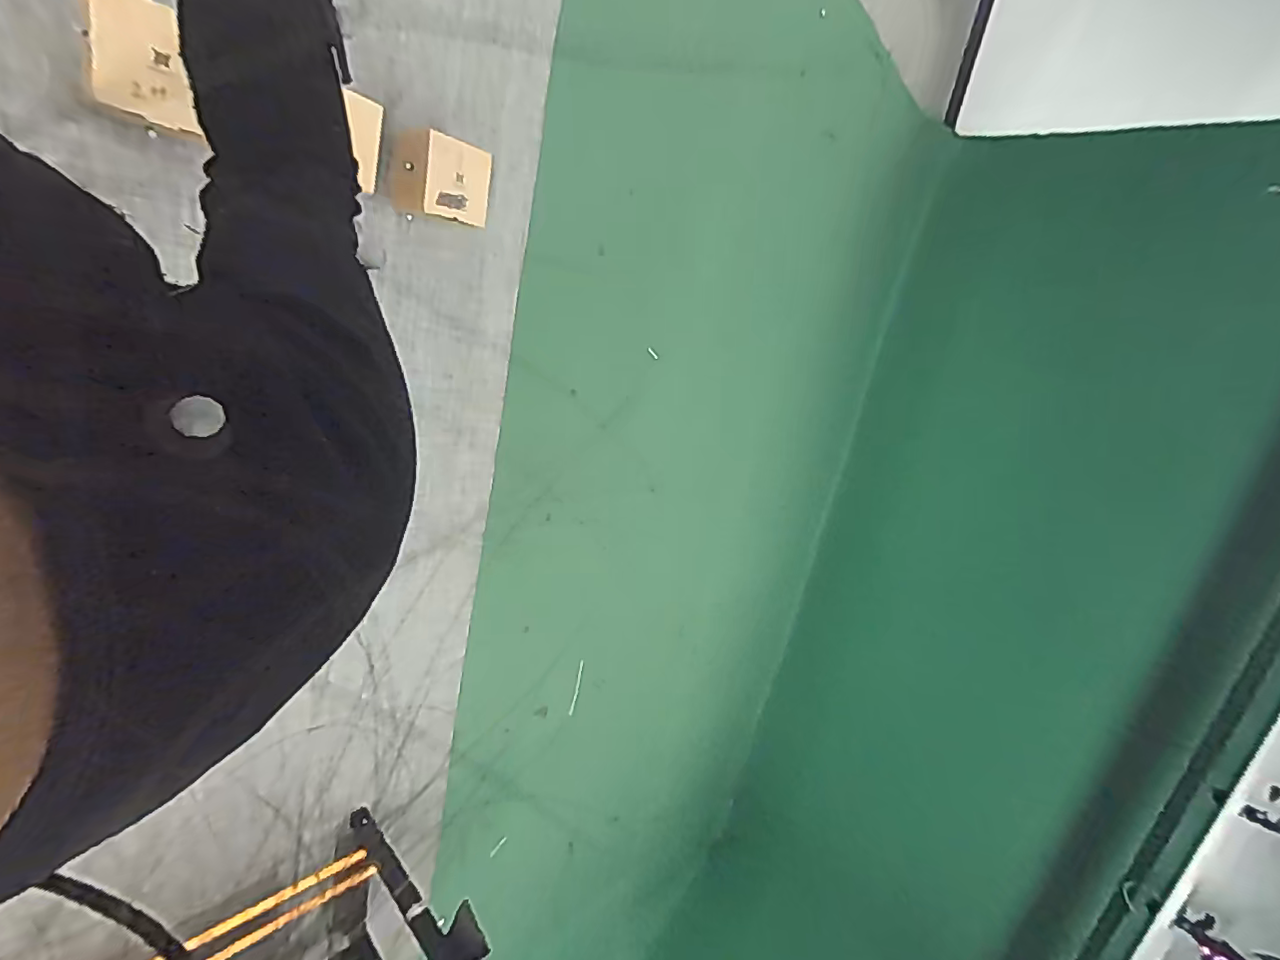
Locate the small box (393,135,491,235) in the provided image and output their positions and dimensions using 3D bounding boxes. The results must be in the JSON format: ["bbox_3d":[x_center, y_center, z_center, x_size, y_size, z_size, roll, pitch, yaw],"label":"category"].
[{"bbox_3d":[-0.497,-0.725,1.344,0.168,0.176,0.179,-7,114,-49],"label":"small box"}]

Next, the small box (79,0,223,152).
[{"bbox_3d":[-0.845,-0.696,0.937,0.168,0.176,0.179,-5,112,-48],"label":"small box"}]

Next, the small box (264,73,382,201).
[{"bbox_3d":[-0.672,-0.711,1.142,0.168,0.176,0.179,-3,111,-50],"label":"small box"}]
